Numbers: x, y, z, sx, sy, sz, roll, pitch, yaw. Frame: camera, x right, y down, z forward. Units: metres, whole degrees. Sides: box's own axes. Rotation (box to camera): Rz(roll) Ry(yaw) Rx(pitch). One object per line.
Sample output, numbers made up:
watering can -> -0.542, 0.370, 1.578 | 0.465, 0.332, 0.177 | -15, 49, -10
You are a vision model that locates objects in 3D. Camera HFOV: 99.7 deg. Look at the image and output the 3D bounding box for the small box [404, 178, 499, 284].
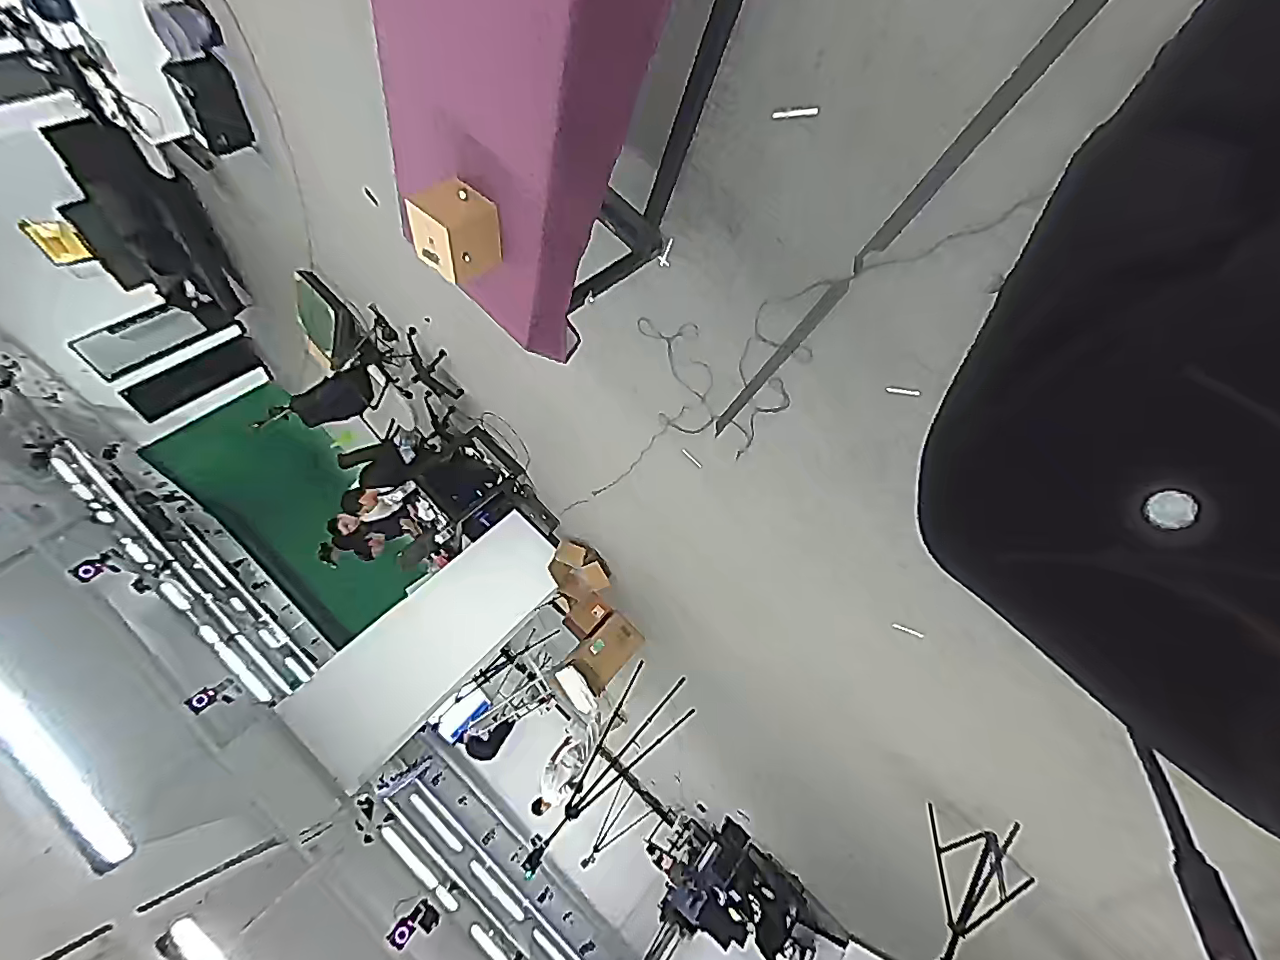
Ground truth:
small box -> -0.501, -0.678, 1.468 | 0.168, 0.176, 0.179 | 39, 150, 14
